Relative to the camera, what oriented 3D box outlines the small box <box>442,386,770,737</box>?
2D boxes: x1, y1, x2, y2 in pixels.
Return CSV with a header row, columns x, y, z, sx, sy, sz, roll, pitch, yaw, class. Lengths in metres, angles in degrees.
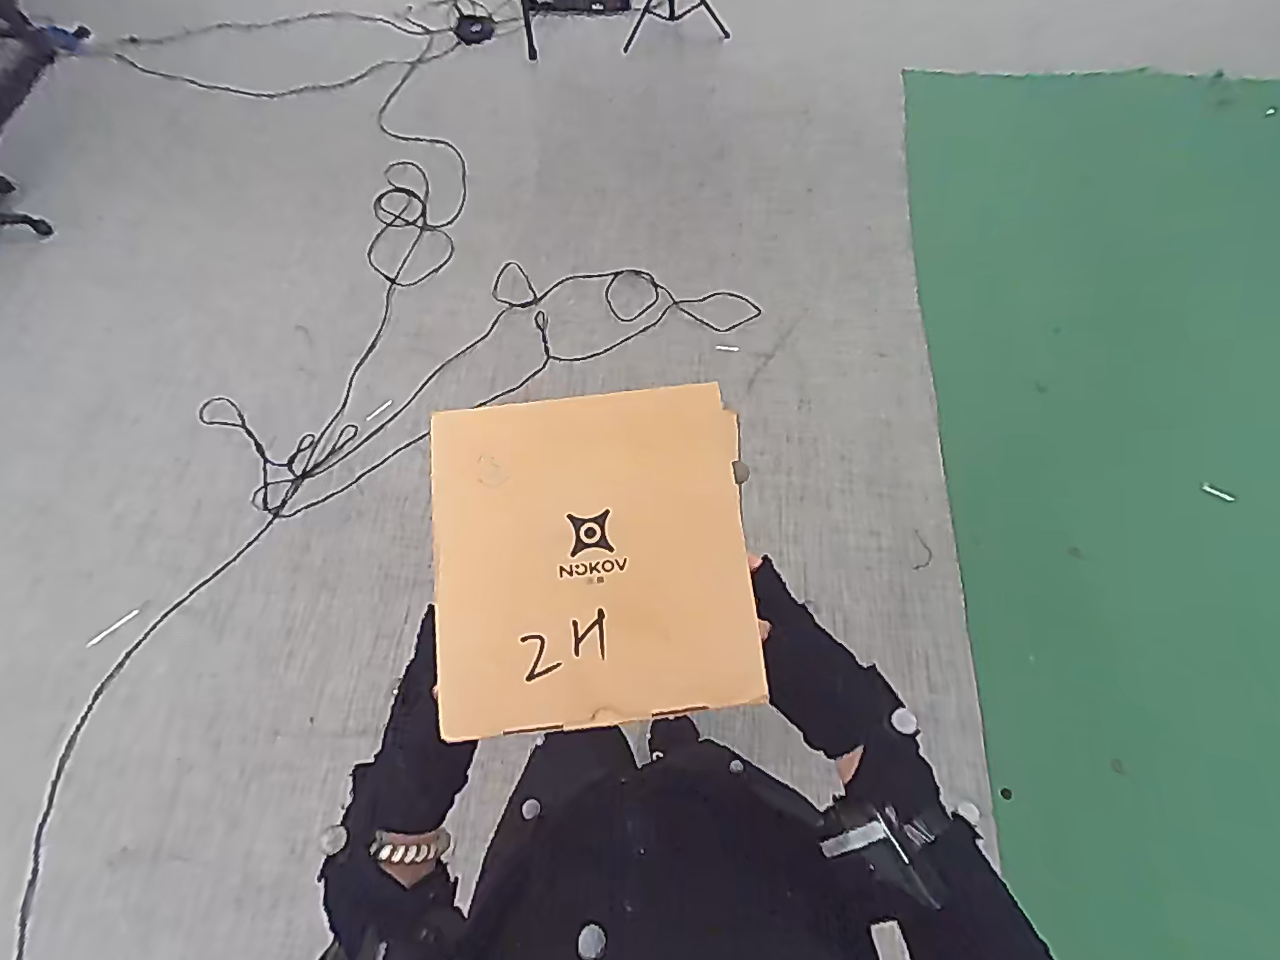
x,y,z,sx,sy,sz,roll,pitch,yaw,class
-0.024,0.056,0.368,0.168,0.176,0.179,-7,77,-1,small box
